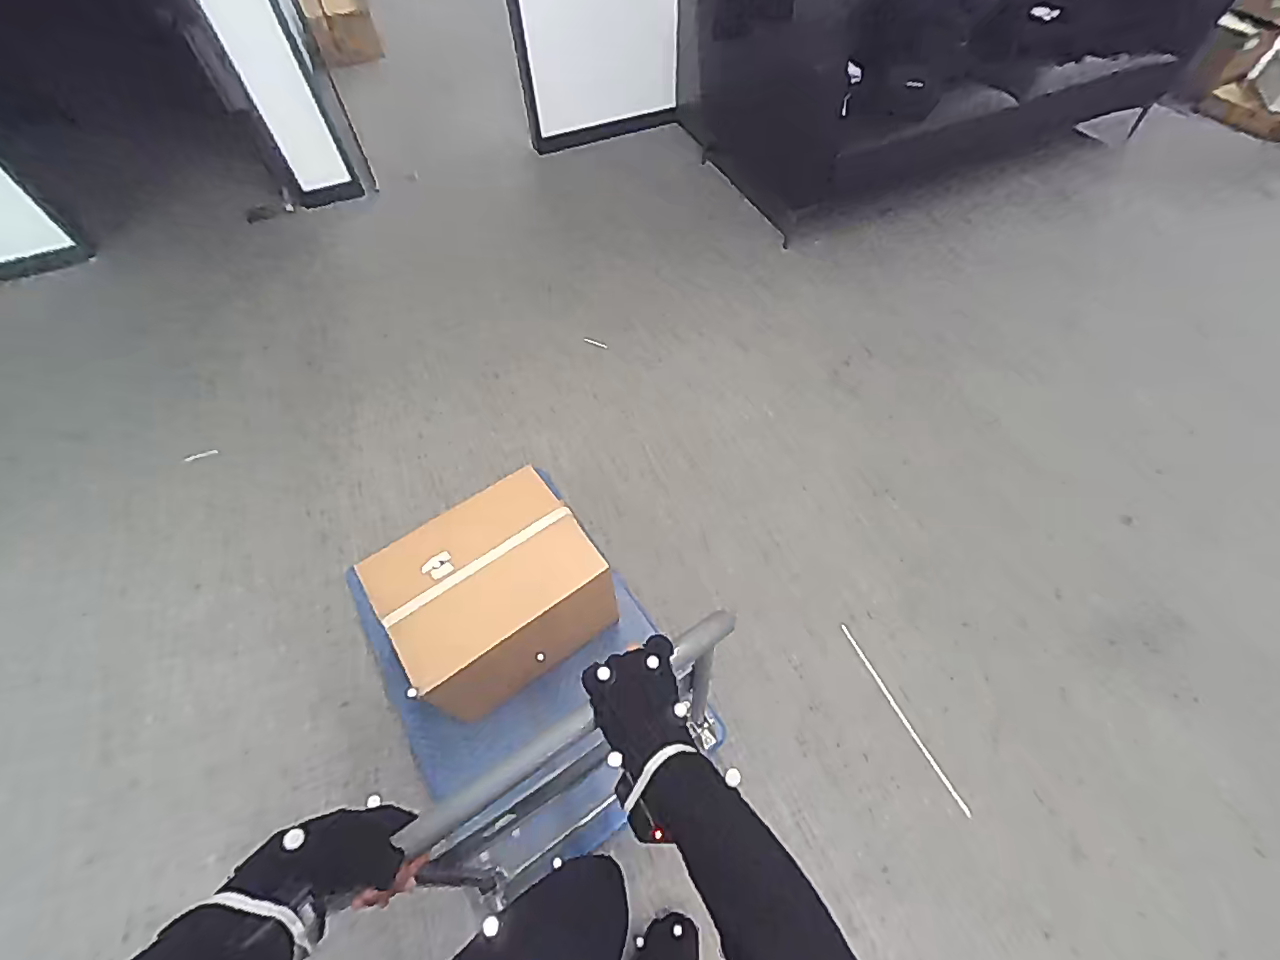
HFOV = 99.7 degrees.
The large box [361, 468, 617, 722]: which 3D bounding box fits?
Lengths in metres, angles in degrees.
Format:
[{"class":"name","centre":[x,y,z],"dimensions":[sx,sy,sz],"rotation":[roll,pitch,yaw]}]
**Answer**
[{"class":"large box","centre":[-0.301,0.253,1.185],"dimensions":[0.408,0.320,0.320],"rotation":[-33,62,-18]}]
